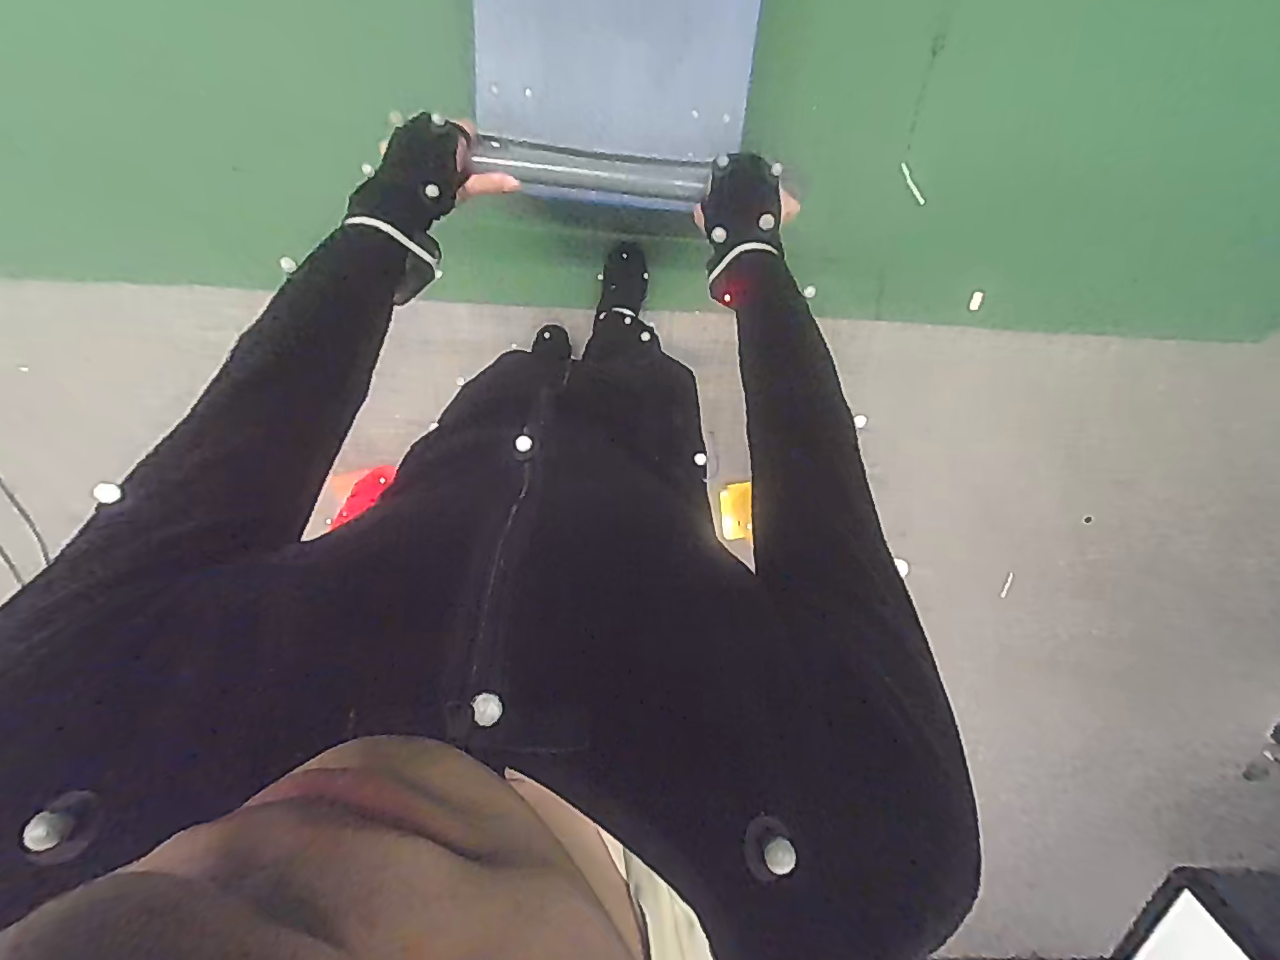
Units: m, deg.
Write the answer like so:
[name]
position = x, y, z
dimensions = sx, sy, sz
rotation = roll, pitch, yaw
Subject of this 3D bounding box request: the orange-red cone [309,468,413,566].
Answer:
[orange-red cone]
position = -0.819, 0.132, 1.518
dimensions = 0.199, 0.360, 0.198
rotation = -11, 114, 4
